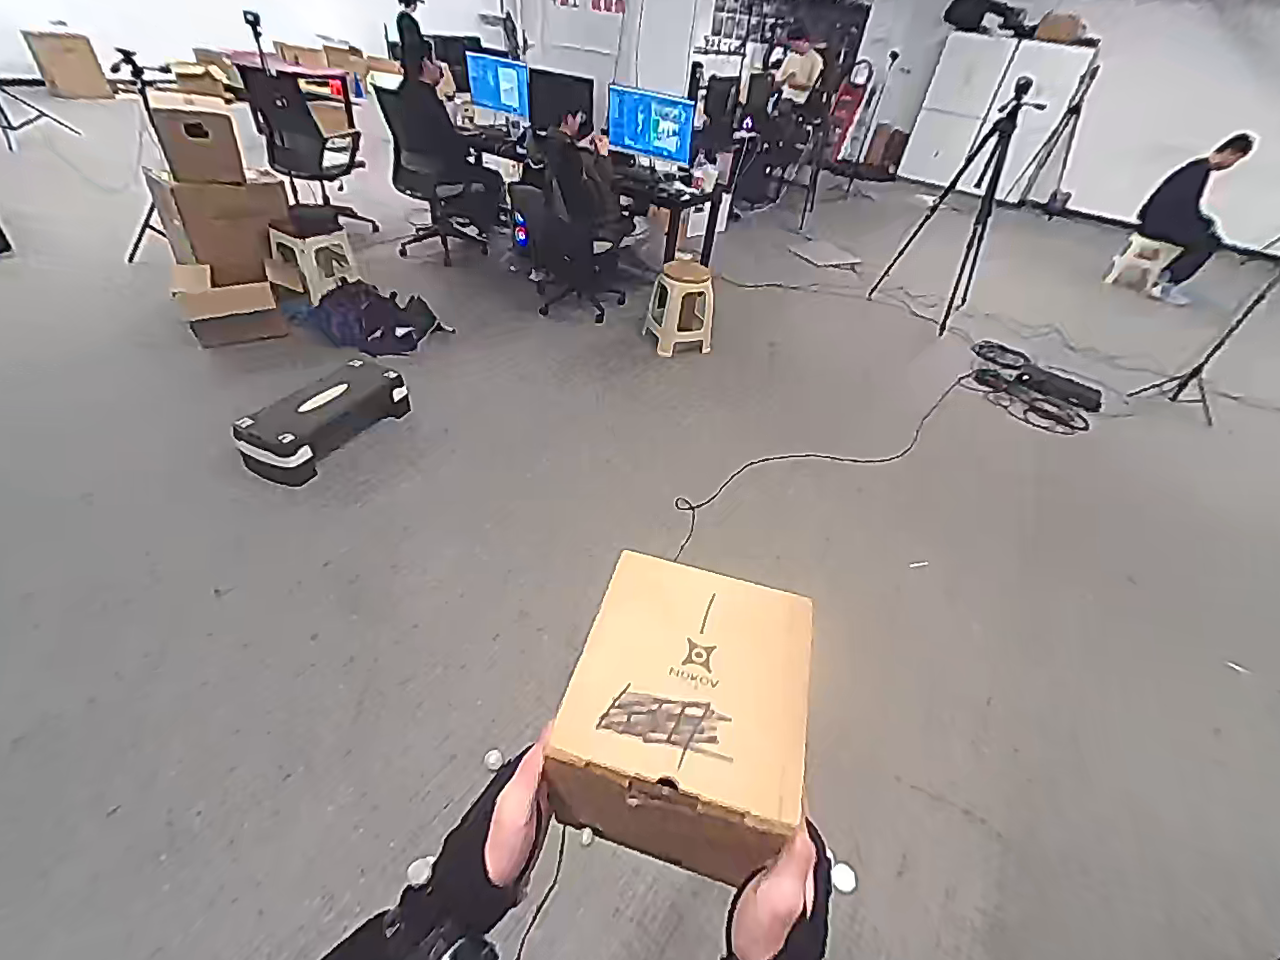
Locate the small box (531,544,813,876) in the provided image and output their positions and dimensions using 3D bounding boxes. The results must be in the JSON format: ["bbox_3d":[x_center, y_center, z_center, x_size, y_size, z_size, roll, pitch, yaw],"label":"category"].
[{"bbox_3d":[0.030,0.186,0.438,0.168,0.176,0.179,14,46,10],"label":"small box"}]
